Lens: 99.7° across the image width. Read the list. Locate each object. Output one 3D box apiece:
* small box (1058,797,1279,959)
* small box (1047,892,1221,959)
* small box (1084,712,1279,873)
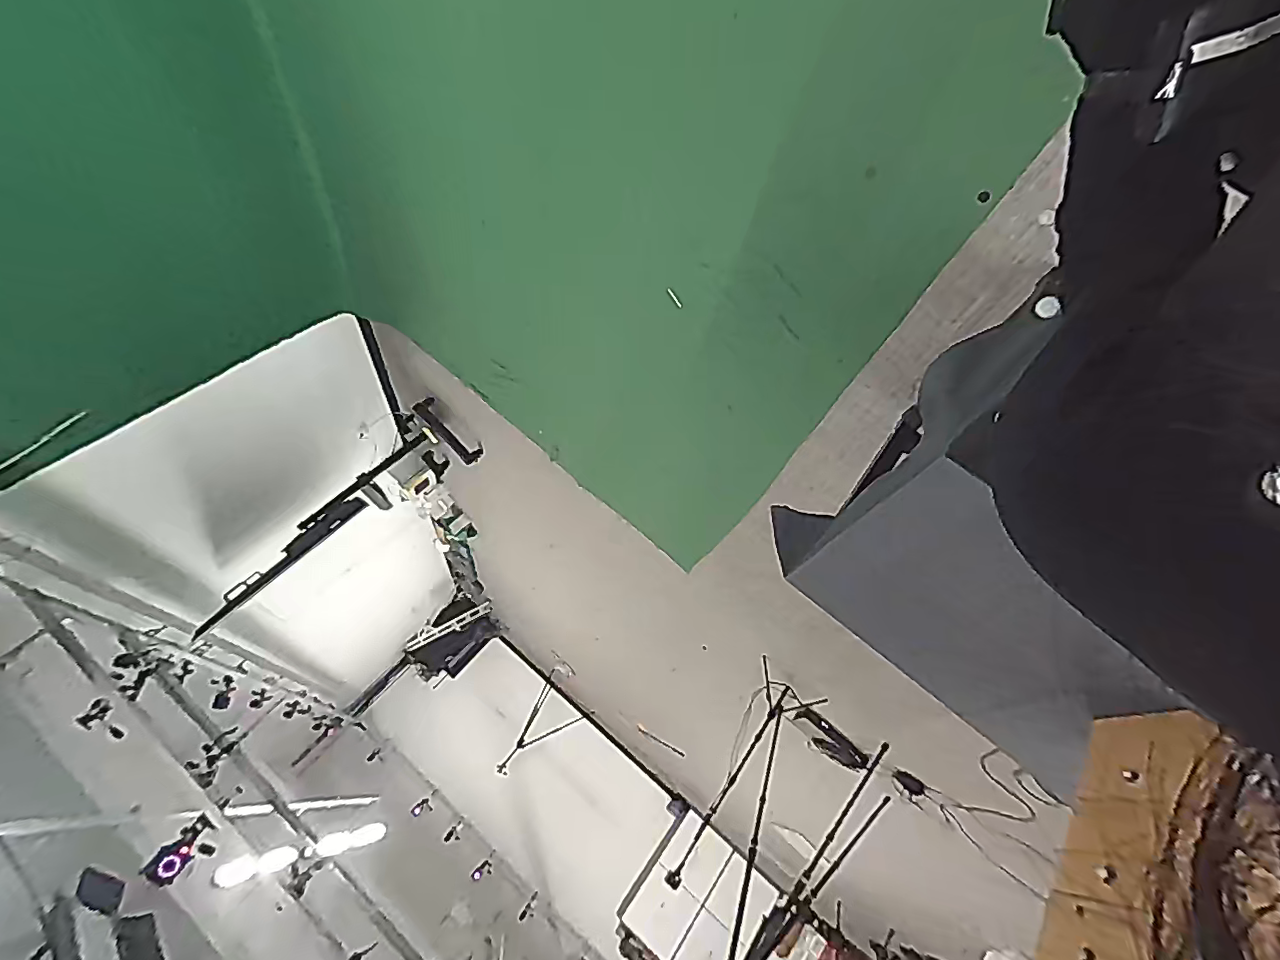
[{"bbox_3d":[0.784,0.601,0.801,0.168,0.176,0.179,39,151,11],"label":"small box"},{"bbox_3d":[0.680,0.700,0.720,0.179,0.176,0.168,40,151,10],"label":"small box"},{"bbox_3d":[0.886,0.502,0.878,0.168,0.176,0.179,39,152,11],"label":"small box"}]
